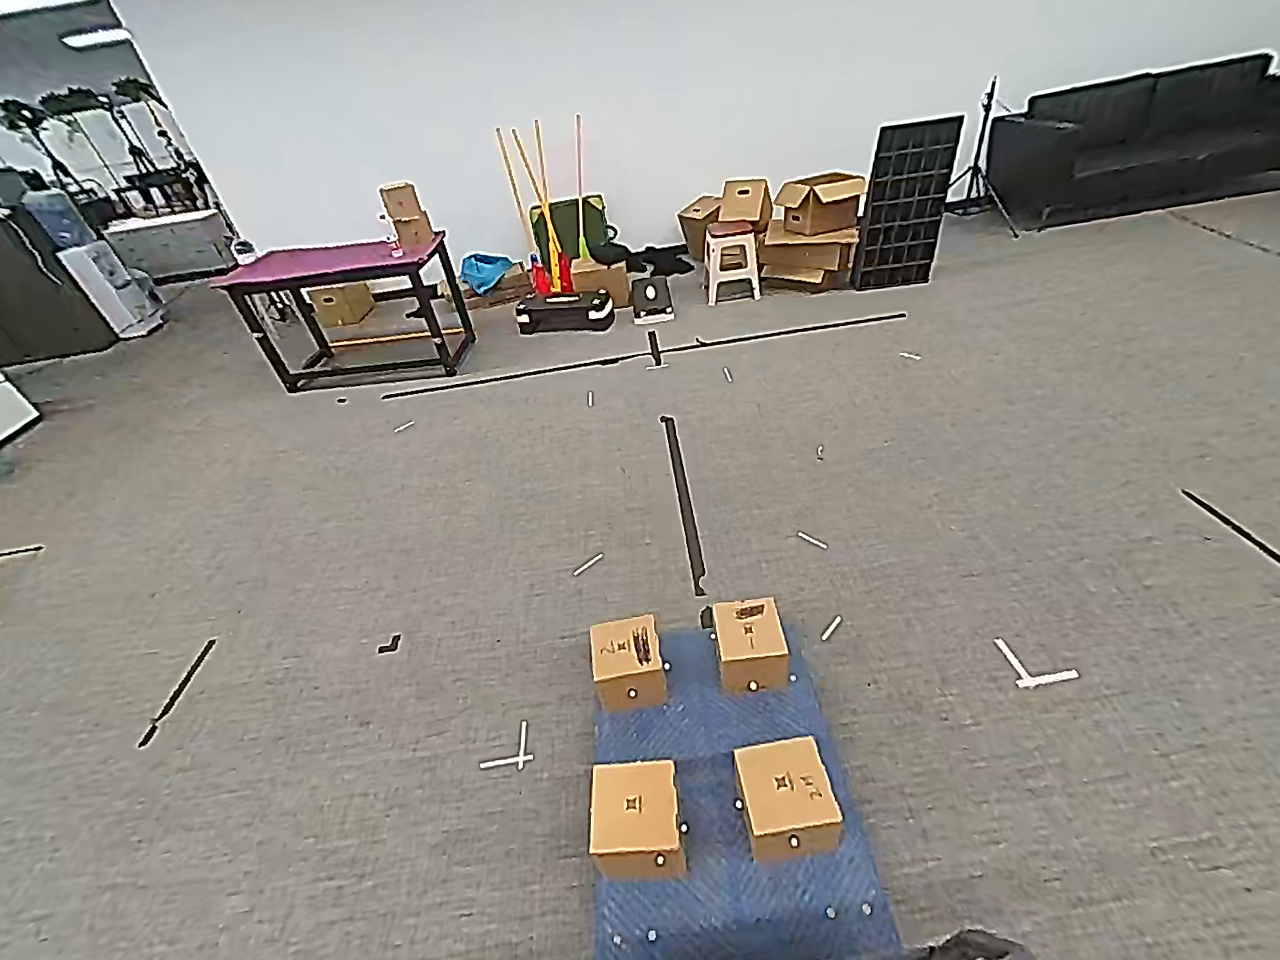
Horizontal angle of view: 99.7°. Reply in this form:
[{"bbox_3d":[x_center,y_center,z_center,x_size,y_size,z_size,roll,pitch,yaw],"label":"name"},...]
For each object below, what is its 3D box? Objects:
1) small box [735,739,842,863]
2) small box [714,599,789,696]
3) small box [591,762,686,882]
[{"bbox_3d":[0.306,0.677,1.137,0.179,0.176,0.168,-10,39,0],"label":"small box"},{"bbox_3d":[0.288,0.443,1.429,0.168,0.176,0.179,-7,40,3],"label":"small box"},{"bbox_3d":[0.000,0.725,1.143,0.179,0.176,0.168,-6,38,2],"label":"small box"}]
